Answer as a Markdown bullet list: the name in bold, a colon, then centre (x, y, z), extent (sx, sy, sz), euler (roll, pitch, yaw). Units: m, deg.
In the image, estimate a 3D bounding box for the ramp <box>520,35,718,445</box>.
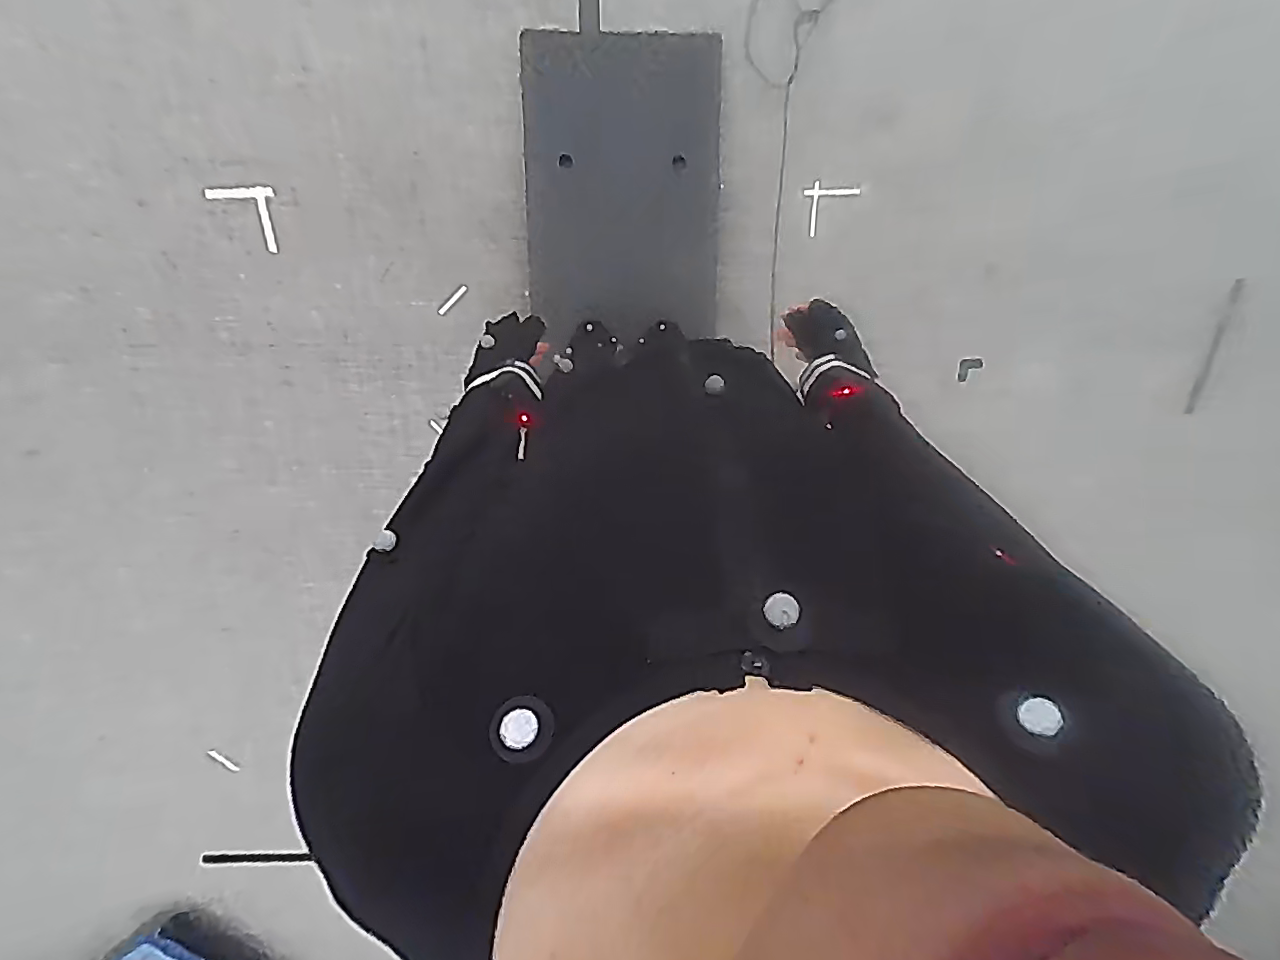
- **ramp**: centre (-0.048, -0.589, 1.398), extent (0.509, 0.206, 0.991), euler (-2, 110, 0)
